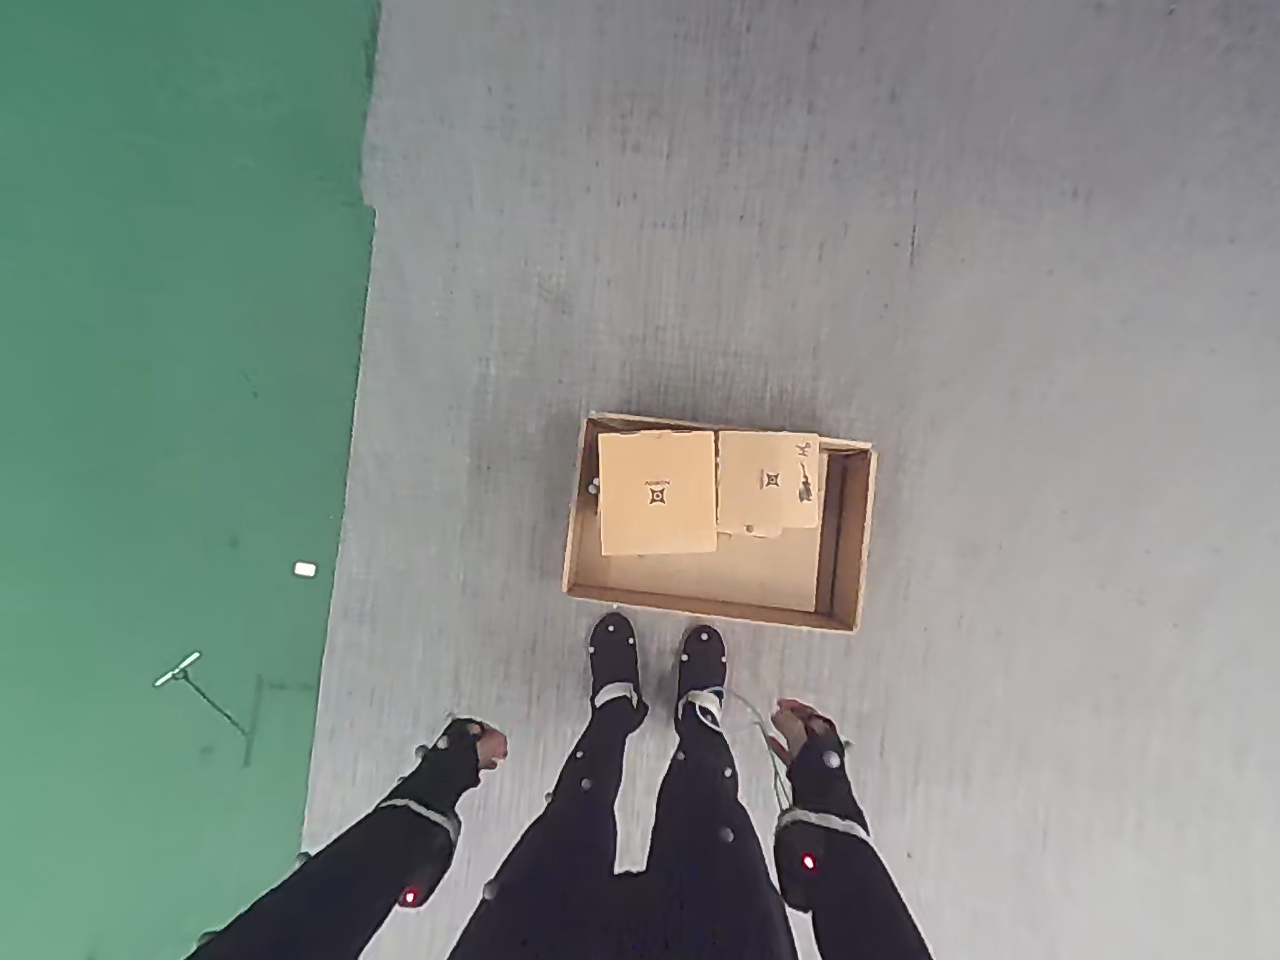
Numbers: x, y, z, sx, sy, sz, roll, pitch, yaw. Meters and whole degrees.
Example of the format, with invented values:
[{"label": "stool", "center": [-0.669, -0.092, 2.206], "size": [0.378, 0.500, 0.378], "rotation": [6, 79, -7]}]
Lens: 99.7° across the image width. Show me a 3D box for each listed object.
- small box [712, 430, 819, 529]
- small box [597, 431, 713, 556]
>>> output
[{"label": "small box", "center": [0.220, 0.004, 1.001], "size": [0.179, 0.176, 0.168], "rotation": [2, 87, 3]}, {"label": "small box", "center": [0.022, 0.020, 0.842], "size": [0.168, 0.176, 0.179], "rotation": [-1, 88, 0]}]
